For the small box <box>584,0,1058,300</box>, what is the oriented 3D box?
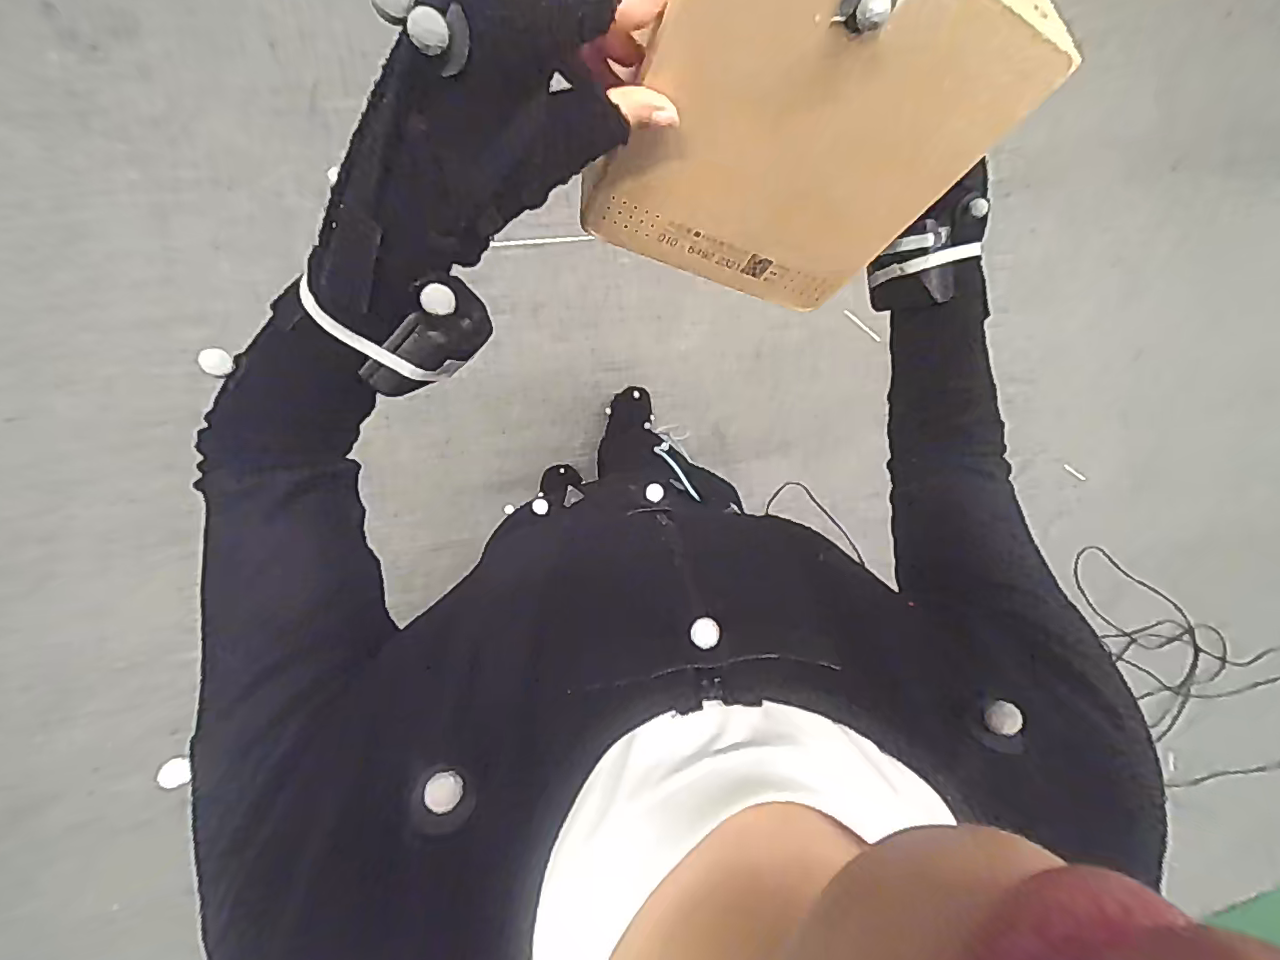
[{"bbox_3d":[0.072,-0.241,0.305,0.168,0.176,0.179,10,62,-23],"label":"small box"}]
